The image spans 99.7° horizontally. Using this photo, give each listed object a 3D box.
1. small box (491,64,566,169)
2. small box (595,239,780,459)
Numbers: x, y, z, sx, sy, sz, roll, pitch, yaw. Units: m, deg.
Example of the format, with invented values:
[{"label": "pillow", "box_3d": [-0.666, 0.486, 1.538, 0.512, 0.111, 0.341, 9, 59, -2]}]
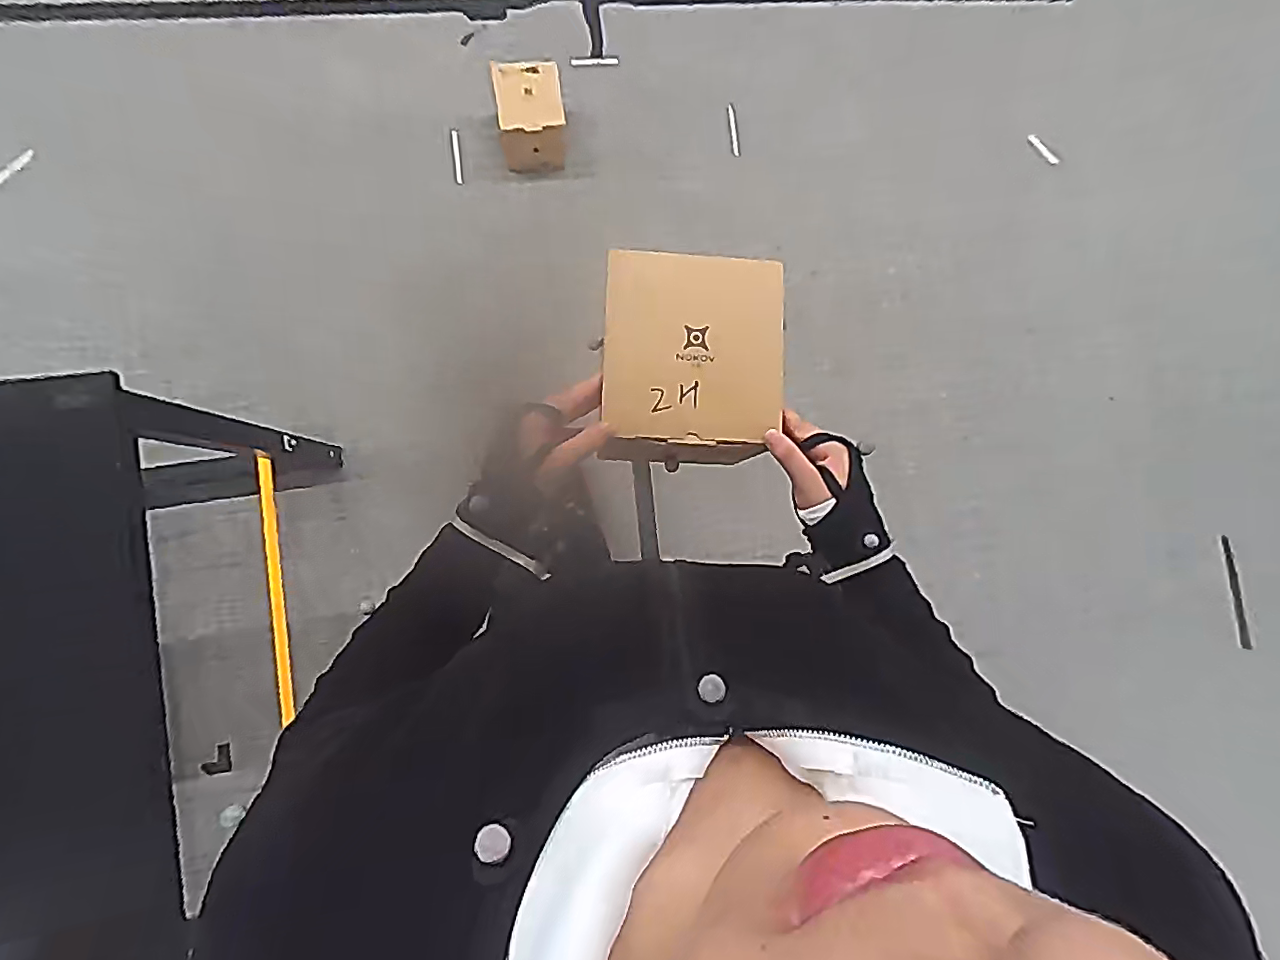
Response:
[{"label": "small box", "box_3d": [-0.291, -0.957, 1.441, 0.168, 0.176, 0.179, -8, 88, -7]}, {"label": "small box", "box_3d": [0.039, -0.122, 0.568, 0.168, 0.176, 0.179, 2, 85, -5]}]
